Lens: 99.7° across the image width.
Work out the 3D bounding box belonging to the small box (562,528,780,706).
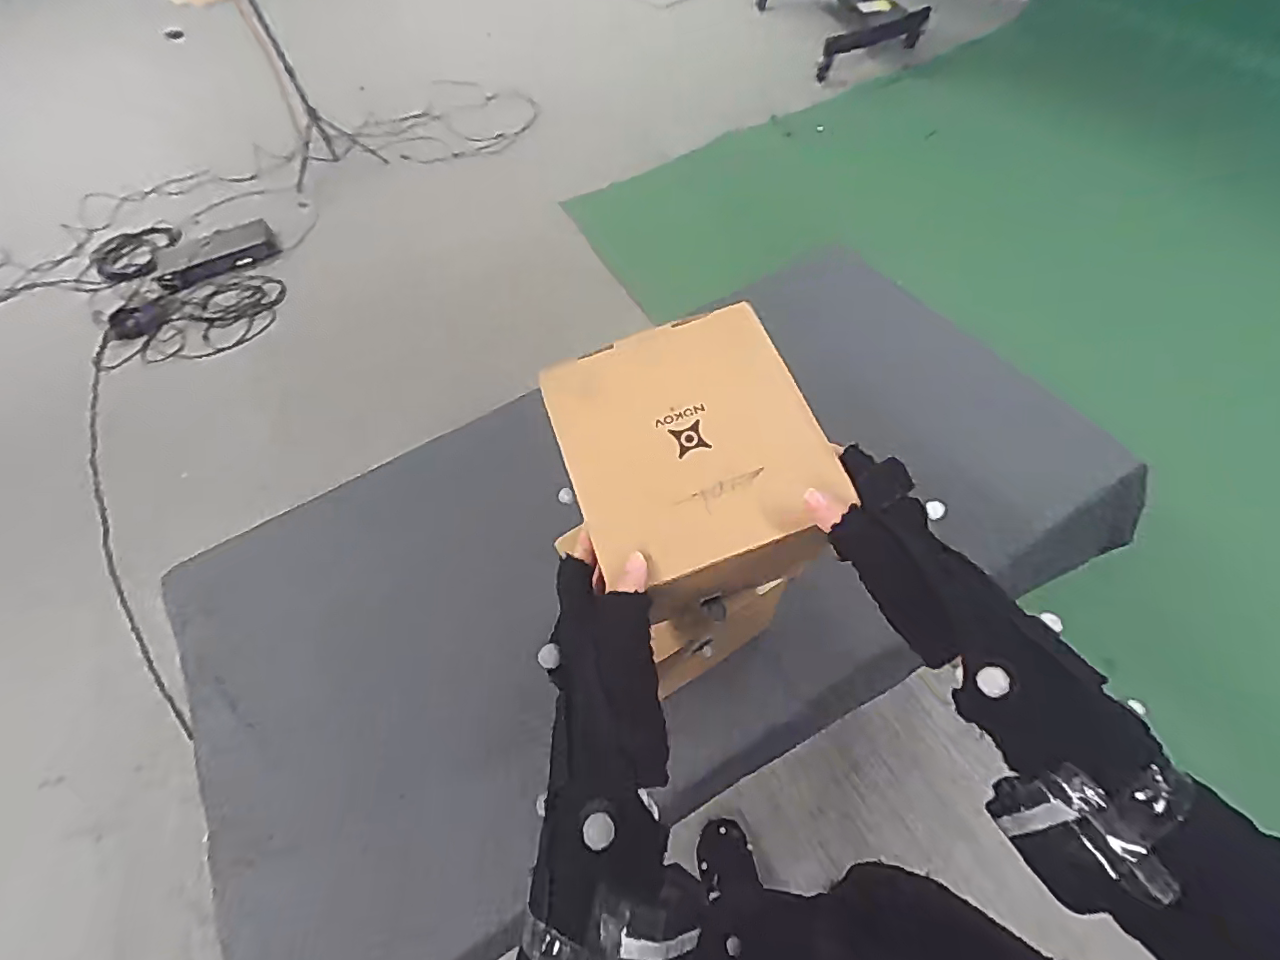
[{"bbox_3d":[0.037,0.131,0.618,0.179,0.176,0.168,-29,60,-14],"label":"small box"}]

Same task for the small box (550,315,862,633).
[{"bbox_3d":[0.041,0.006,0.437,0.168,0.176,0.179,-19,67,-4],"label":"small box"}]
